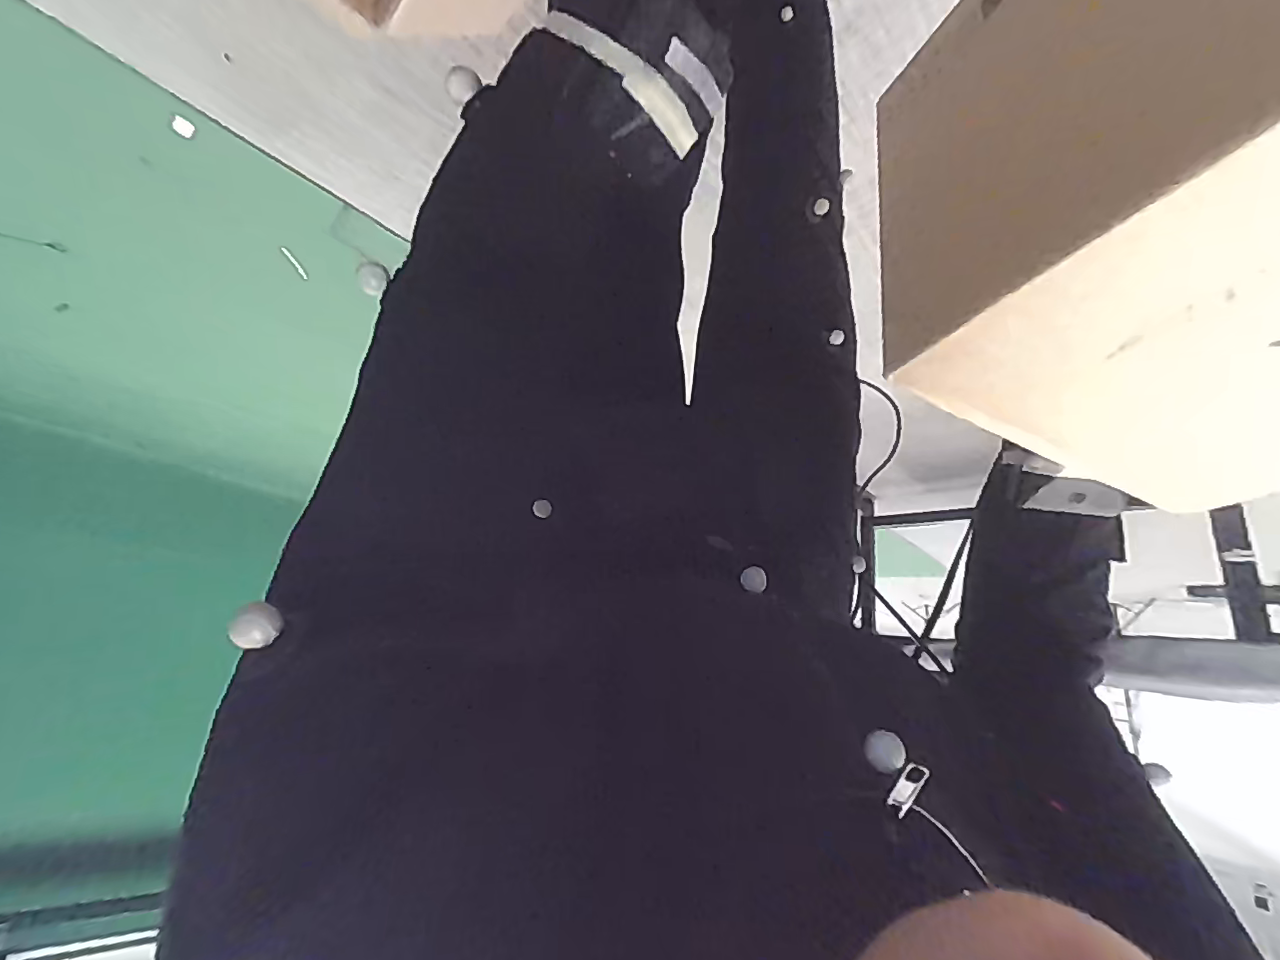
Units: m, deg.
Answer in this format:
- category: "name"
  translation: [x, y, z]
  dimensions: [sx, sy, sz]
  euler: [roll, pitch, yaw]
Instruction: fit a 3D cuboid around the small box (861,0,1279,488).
- category: "small box"
  translation: [0.203, -0.121, 0.186]
  dimensions: [0.179, 0.176, 0.168]
  euler: [19, 153, -15]
